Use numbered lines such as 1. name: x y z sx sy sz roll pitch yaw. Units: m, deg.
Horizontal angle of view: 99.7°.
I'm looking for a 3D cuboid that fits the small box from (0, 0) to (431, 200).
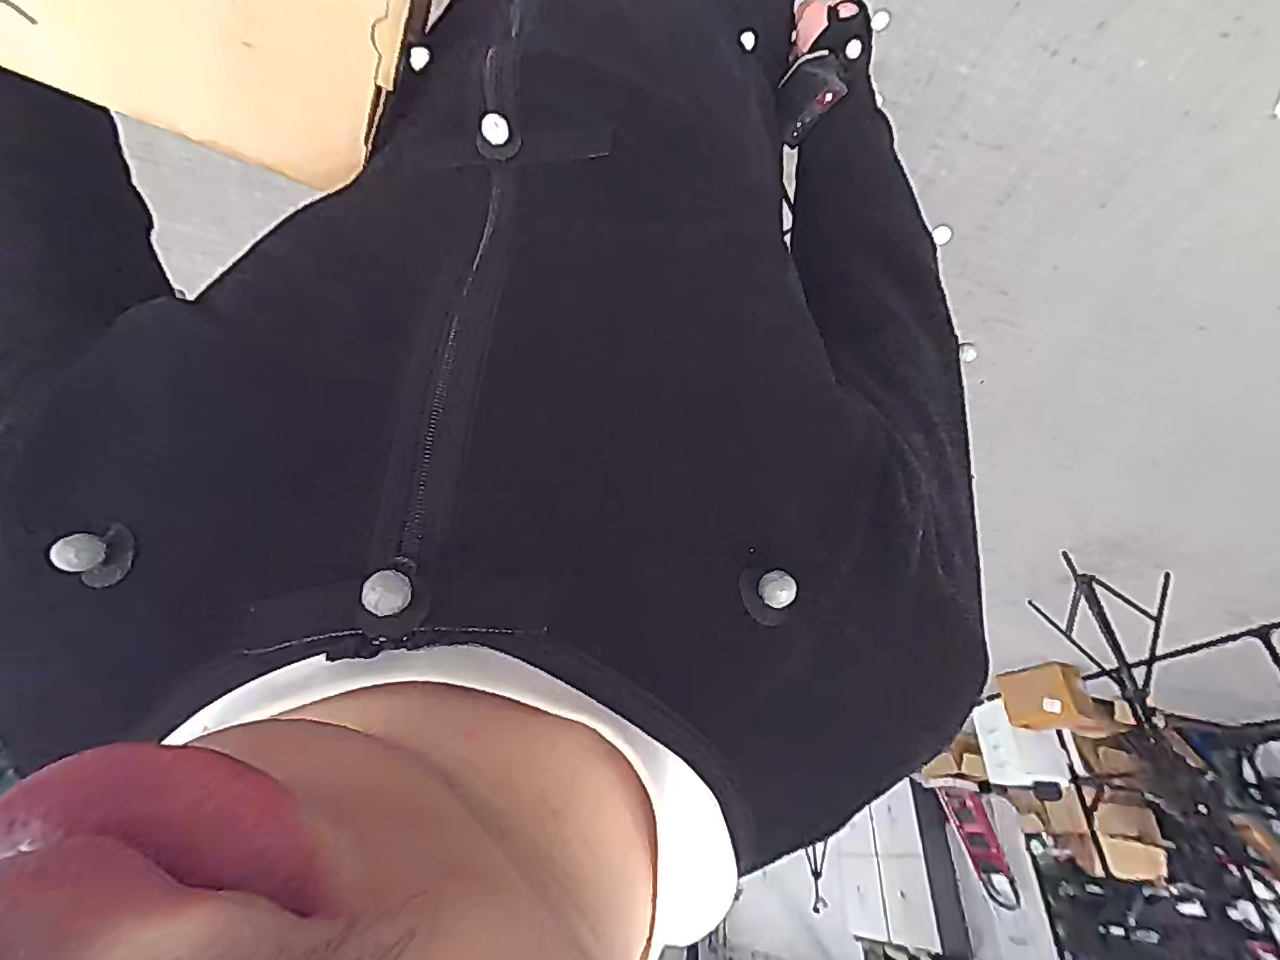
1. small box: -0.220 -0.289 0.307 0.179 0.176 0.168 13 117 -25
